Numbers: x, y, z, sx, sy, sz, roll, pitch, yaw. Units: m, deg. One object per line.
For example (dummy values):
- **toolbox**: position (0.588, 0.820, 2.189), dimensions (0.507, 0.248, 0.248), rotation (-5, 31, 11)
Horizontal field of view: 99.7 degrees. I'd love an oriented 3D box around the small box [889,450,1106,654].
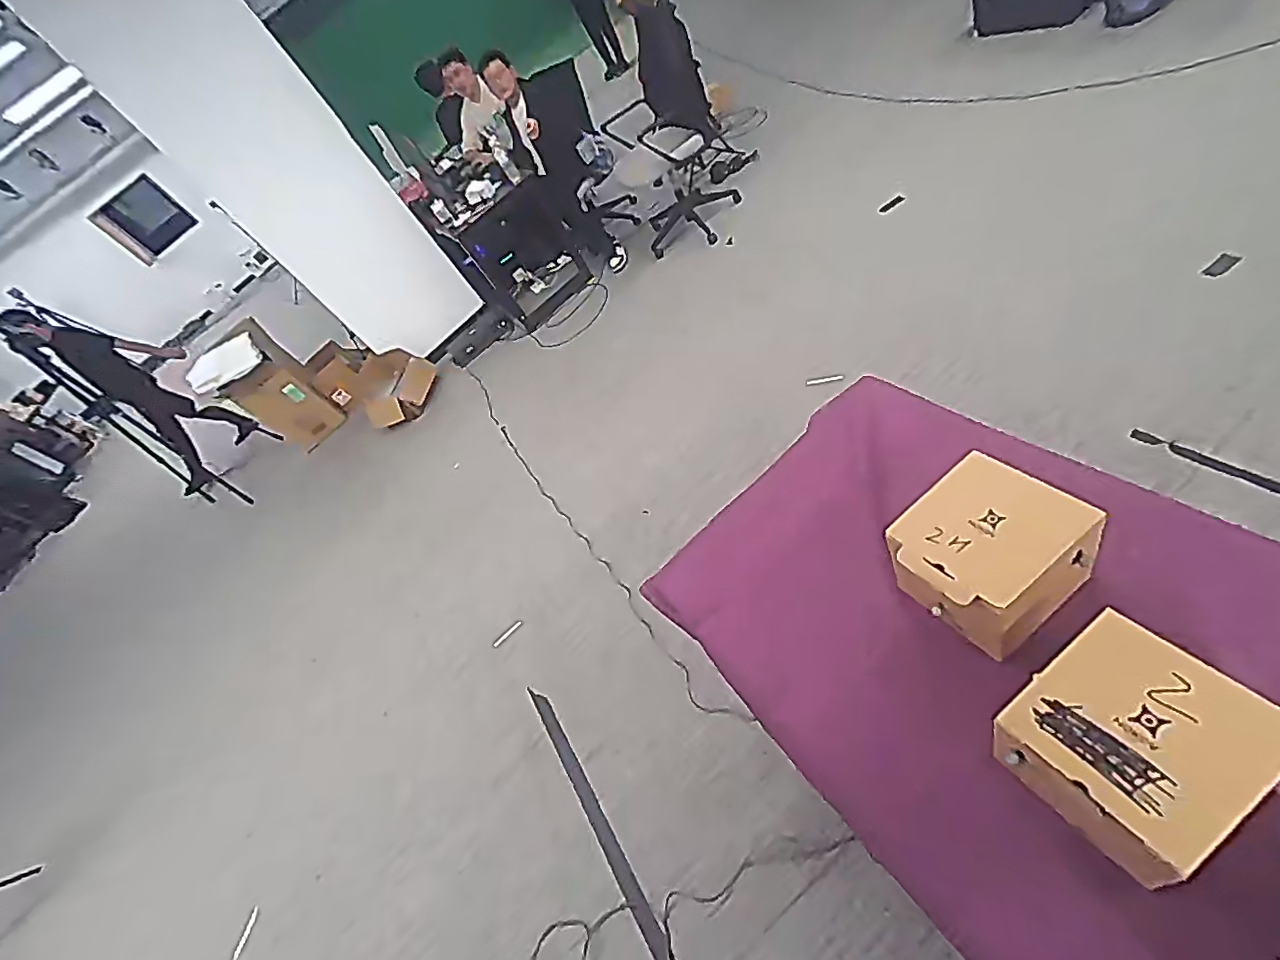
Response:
- **small box**: position (0.471, 0.099, 0.731), dimensions (0.179, 0.176, 0.168), rotation (-42, 43, -3)
